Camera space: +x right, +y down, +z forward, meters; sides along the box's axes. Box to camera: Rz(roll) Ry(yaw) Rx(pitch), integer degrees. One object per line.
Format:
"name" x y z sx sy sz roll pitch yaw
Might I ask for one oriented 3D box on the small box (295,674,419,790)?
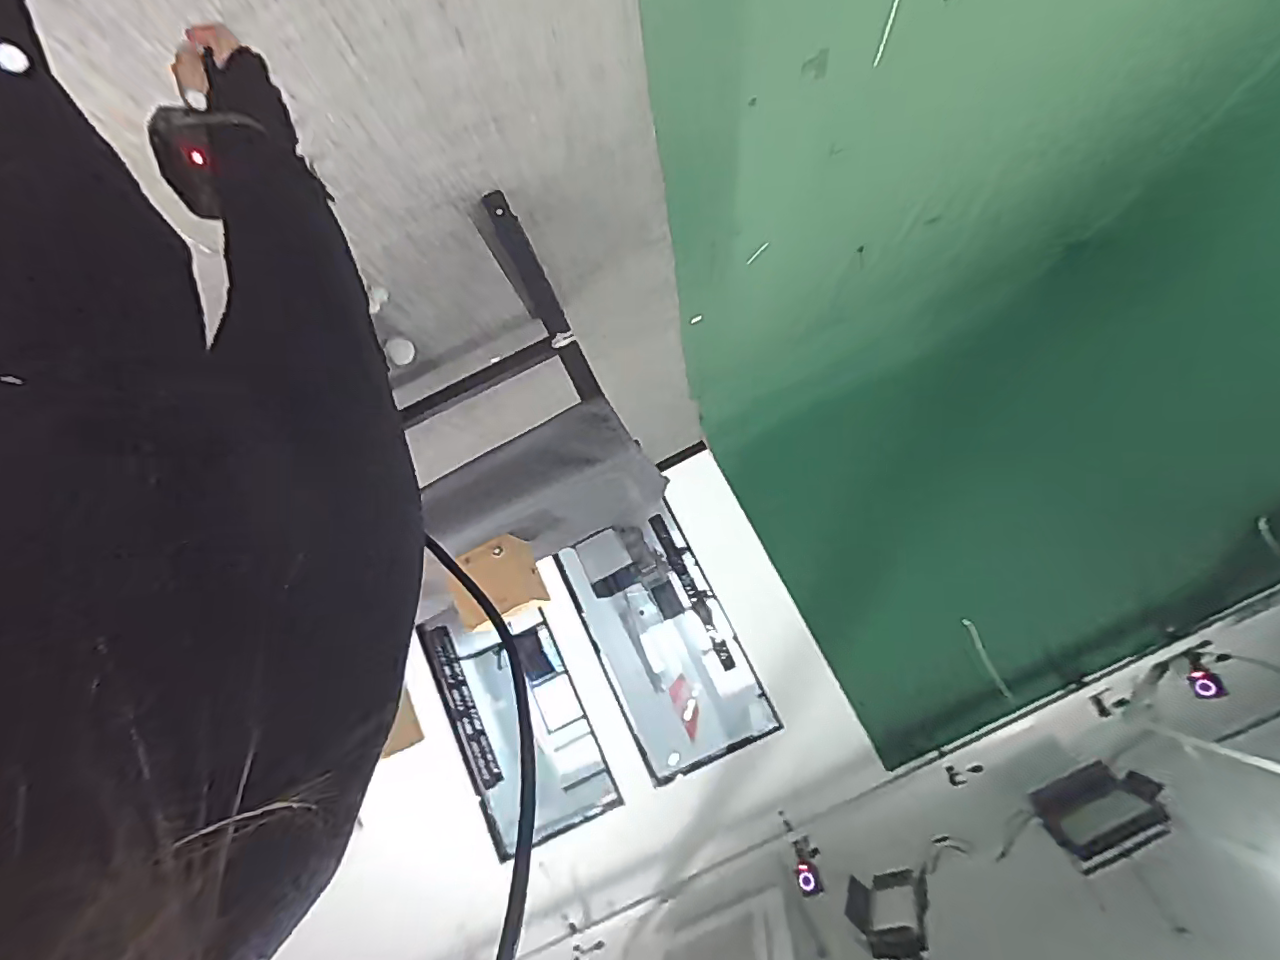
"small box" -0.647 0.565 1.240 0.168 0.176 0.179 -26 167 0

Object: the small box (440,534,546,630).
"small box" -0.348 0.241 1.286 0.168 0.176 0.179 -26 167 -2
